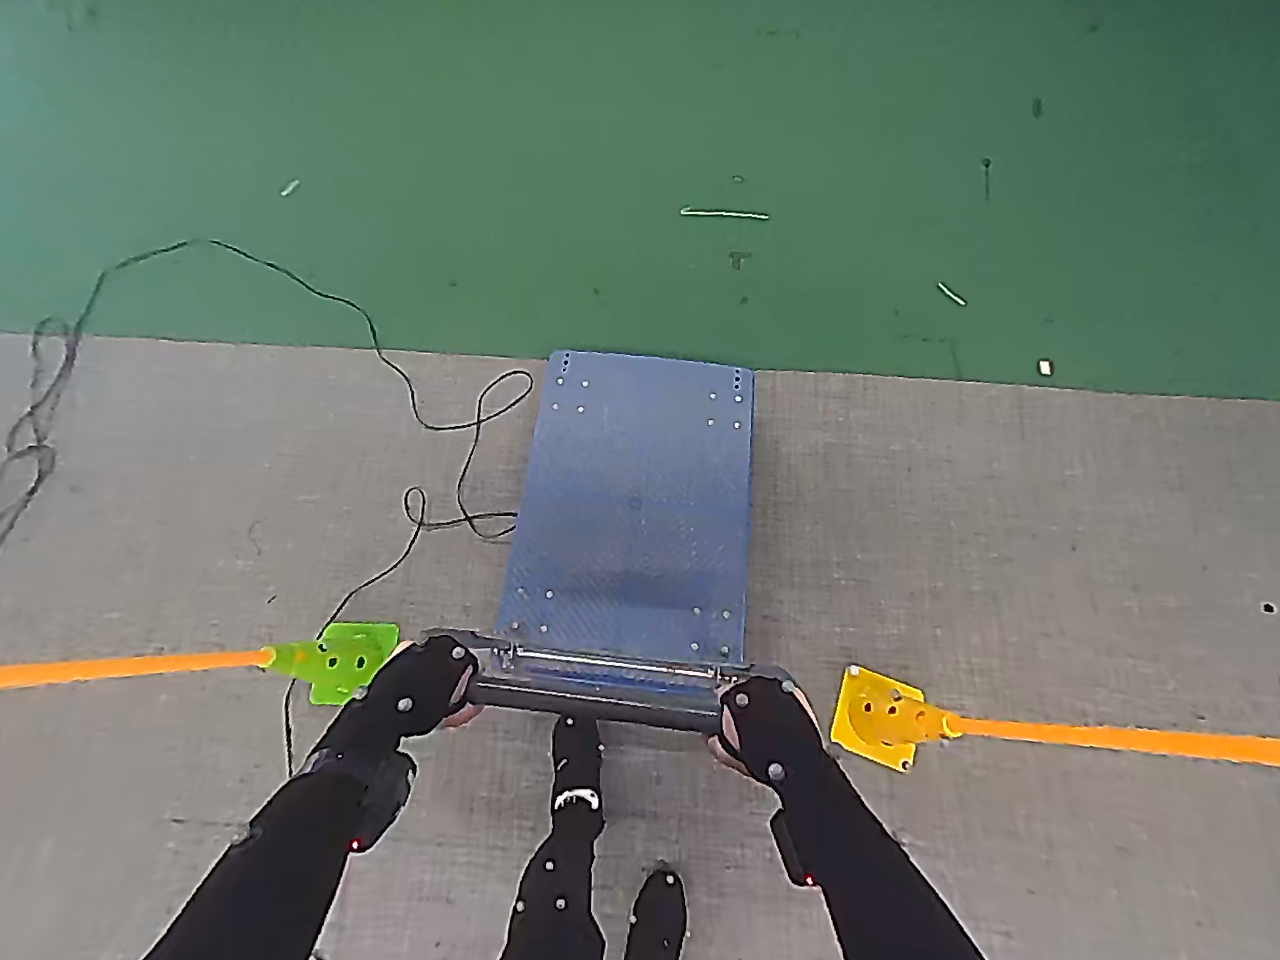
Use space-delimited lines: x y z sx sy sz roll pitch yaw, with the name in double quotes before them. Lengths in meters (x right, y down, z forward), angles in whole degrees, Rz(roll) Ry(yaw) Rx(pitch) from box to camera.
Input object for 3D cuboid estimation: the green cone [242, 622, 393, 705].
"green cone" -0.746 0.403 1.220 0.202 0.368 0.200 -1 69 2
